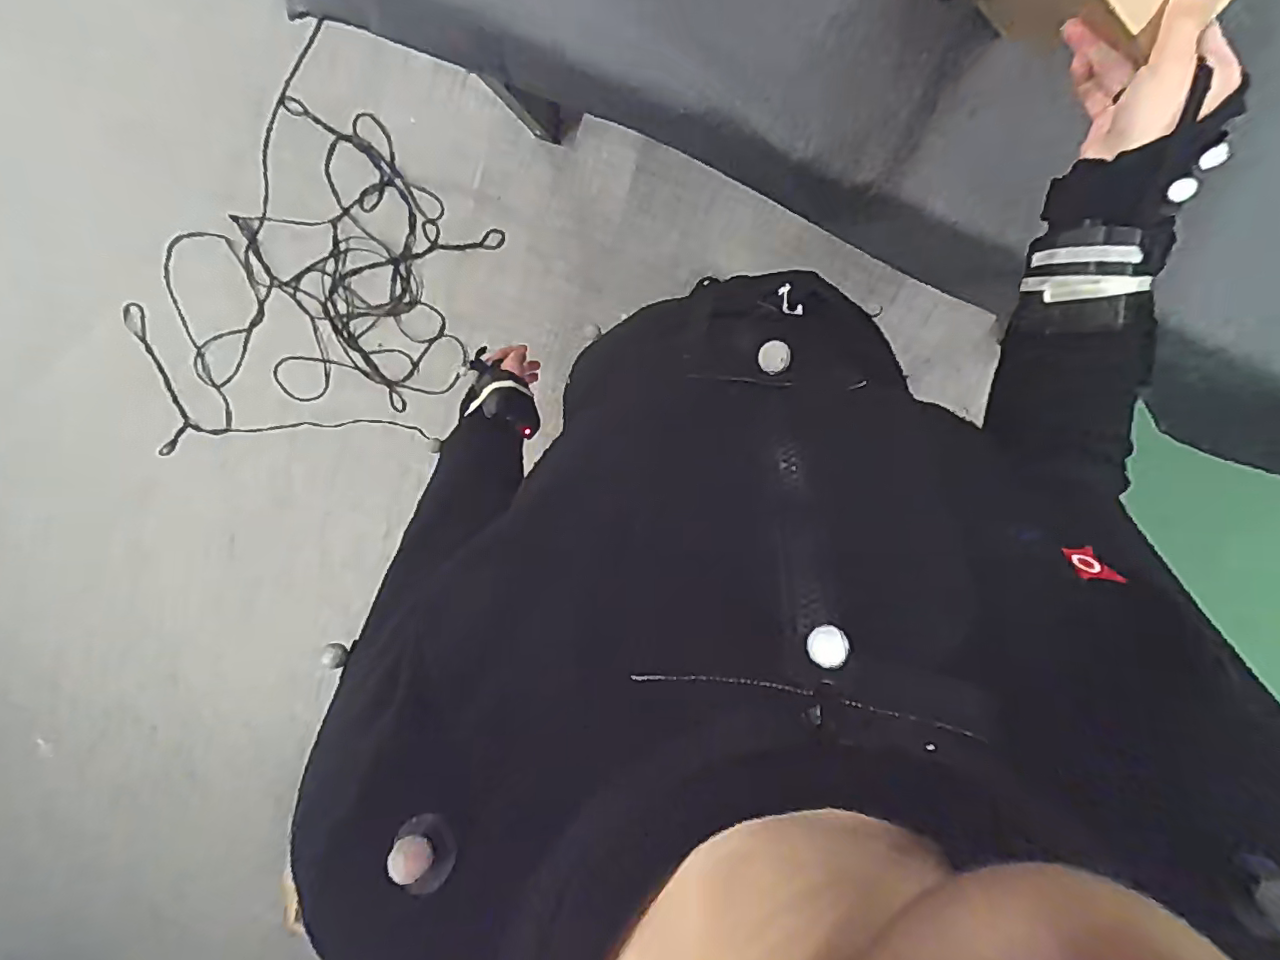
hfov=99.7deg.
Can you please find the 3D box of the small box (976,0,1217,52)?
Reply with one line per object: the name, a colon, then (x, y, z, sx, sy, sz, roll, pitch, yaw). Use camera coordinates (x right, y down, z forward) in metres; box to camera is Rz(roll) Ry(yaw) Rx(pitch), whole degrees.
small box: (0.290, -0.402, 0.314, 0.168, 0.176, 0.179, 19, 128, -23)
